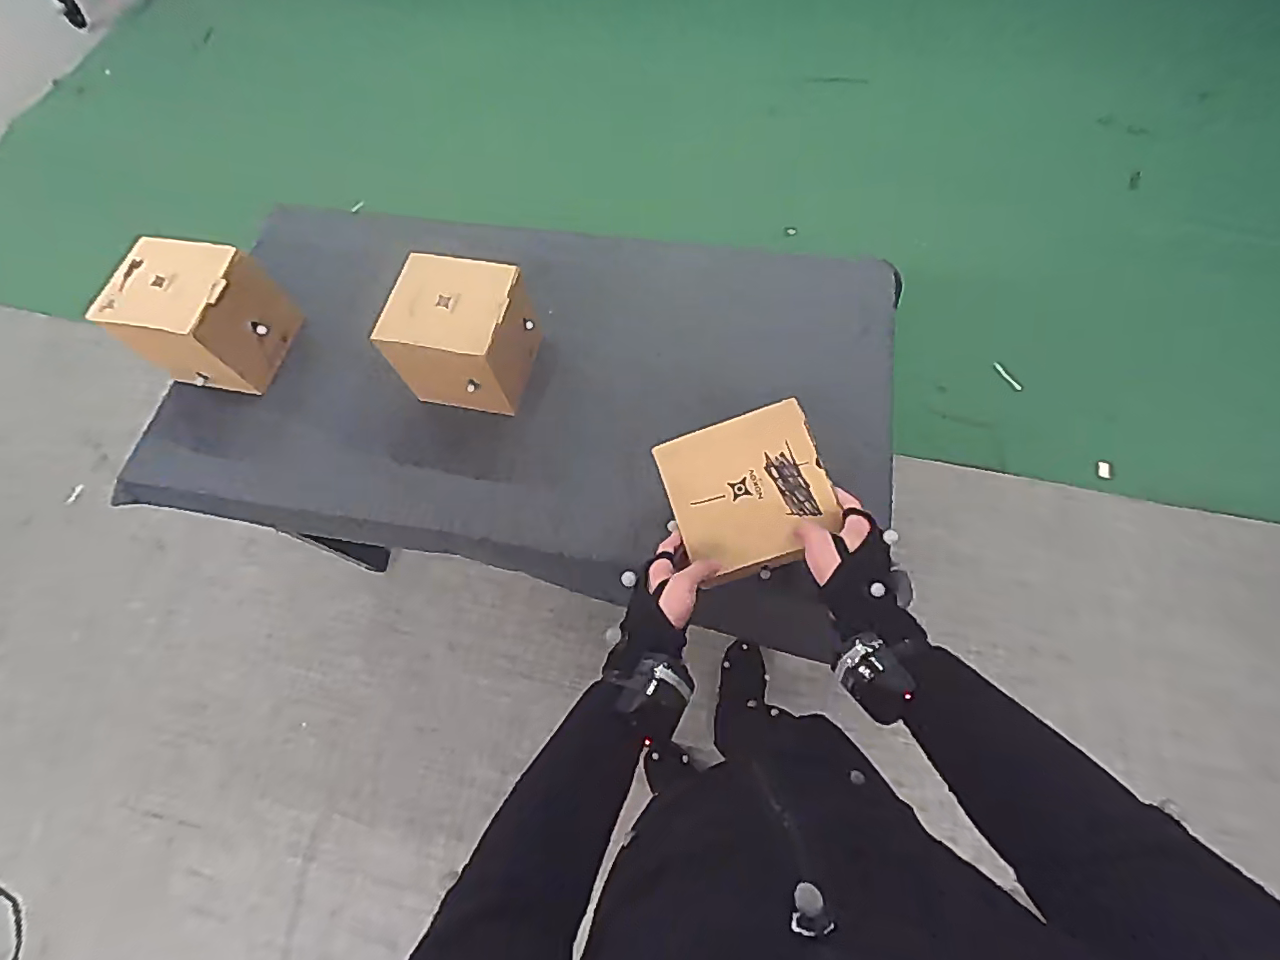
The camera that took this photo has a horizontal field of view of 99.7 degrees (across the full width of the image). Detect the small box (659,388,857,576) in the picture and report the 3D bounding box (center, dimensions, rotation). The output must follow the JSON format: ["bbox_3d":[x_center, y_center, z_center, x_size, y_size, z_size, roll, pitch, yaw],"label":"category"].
[{"bbox_3d":[0.135,0.014,0.669,0.179,0.176,0.168,-19,75,4],"label":"small box"}]

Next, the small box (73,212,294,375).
[{"bbox_3d":[-0.705,-0.289,0.862,0.179,0.176,0.168,11,68,4],"label":"small box"}]

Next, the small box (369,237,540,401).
[{"bbox_3d":[-0.269,-0.240,0.834,0.179,0.176,0.168,10,67,7],"label":"small box"}]
